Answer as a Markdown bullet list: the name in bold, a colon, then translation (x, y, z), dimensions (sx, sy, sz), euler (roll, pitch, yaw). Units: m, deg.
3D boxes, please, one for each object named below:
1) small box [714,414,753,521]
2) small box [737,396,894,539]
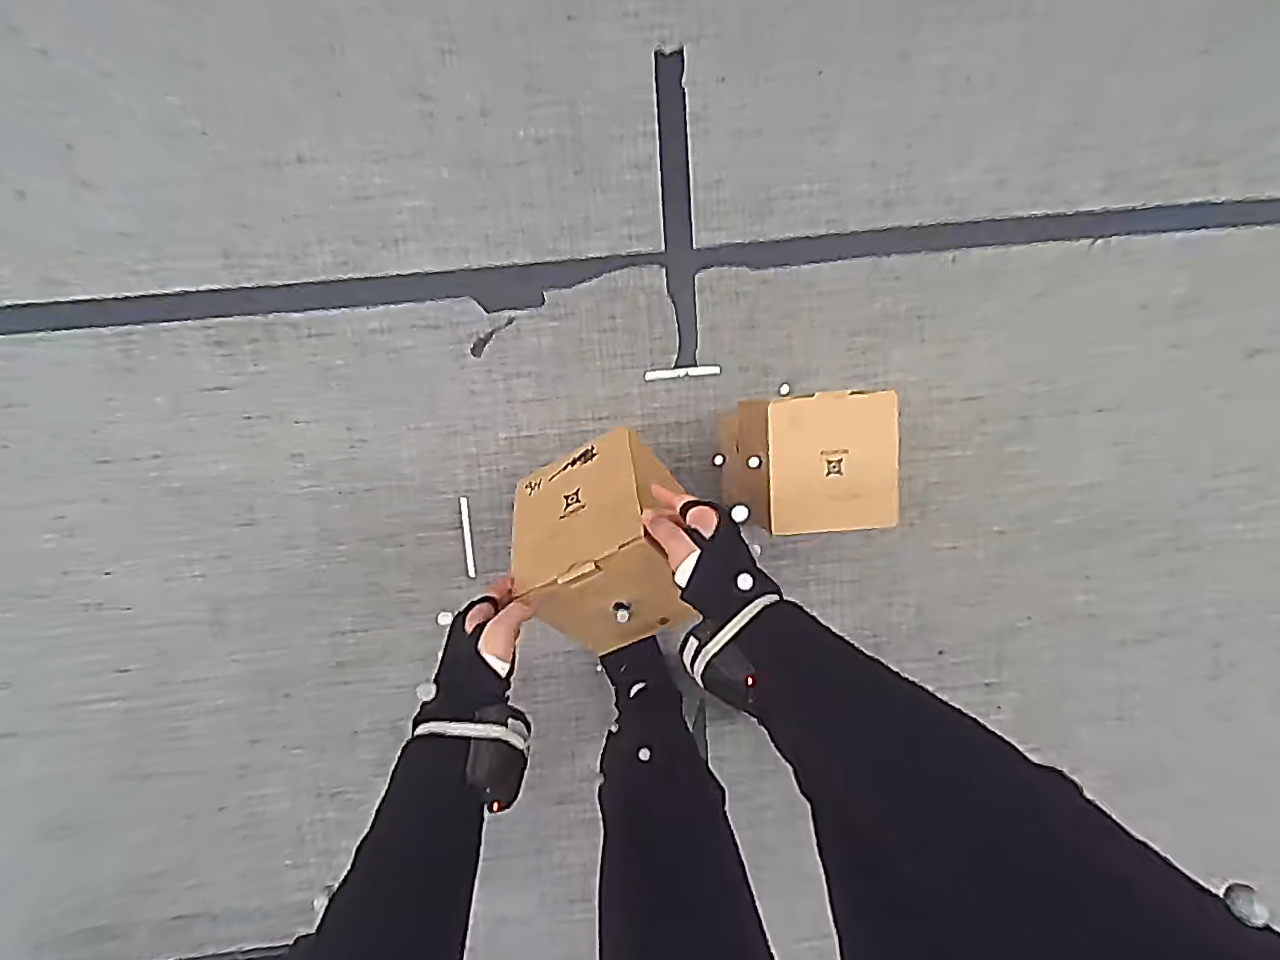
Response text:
- **small box**: translation (0.233, -0.034, 0.928), dimensions (0.179, 0.176, 0.168), euler (-6, 98, -2)
- **small box**: translation (0.237, -0.024, 0.764), dimensions (0.168, 0.176, 0.179), euler (-4, 98, -2)
